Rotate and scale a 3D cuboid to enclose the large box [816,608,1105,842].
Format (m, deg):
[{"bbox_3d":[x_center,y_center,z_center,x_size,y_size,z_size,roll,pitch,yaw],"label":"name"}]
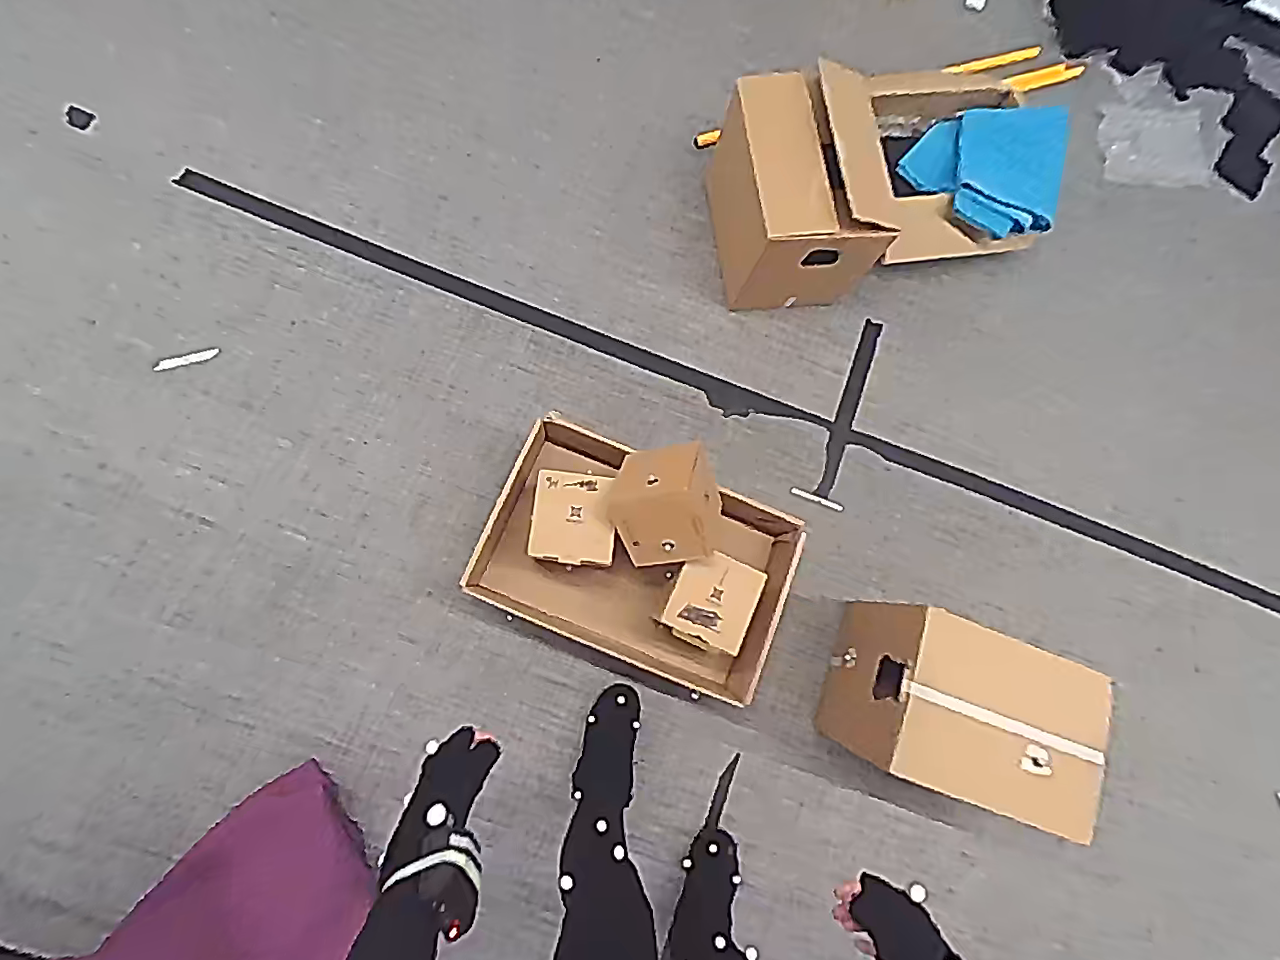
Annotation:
[{"bbox_3d":[0.650,0.482,1.147,0.408,0.320,0.320,21,77,-3],"label":"large box"}]
